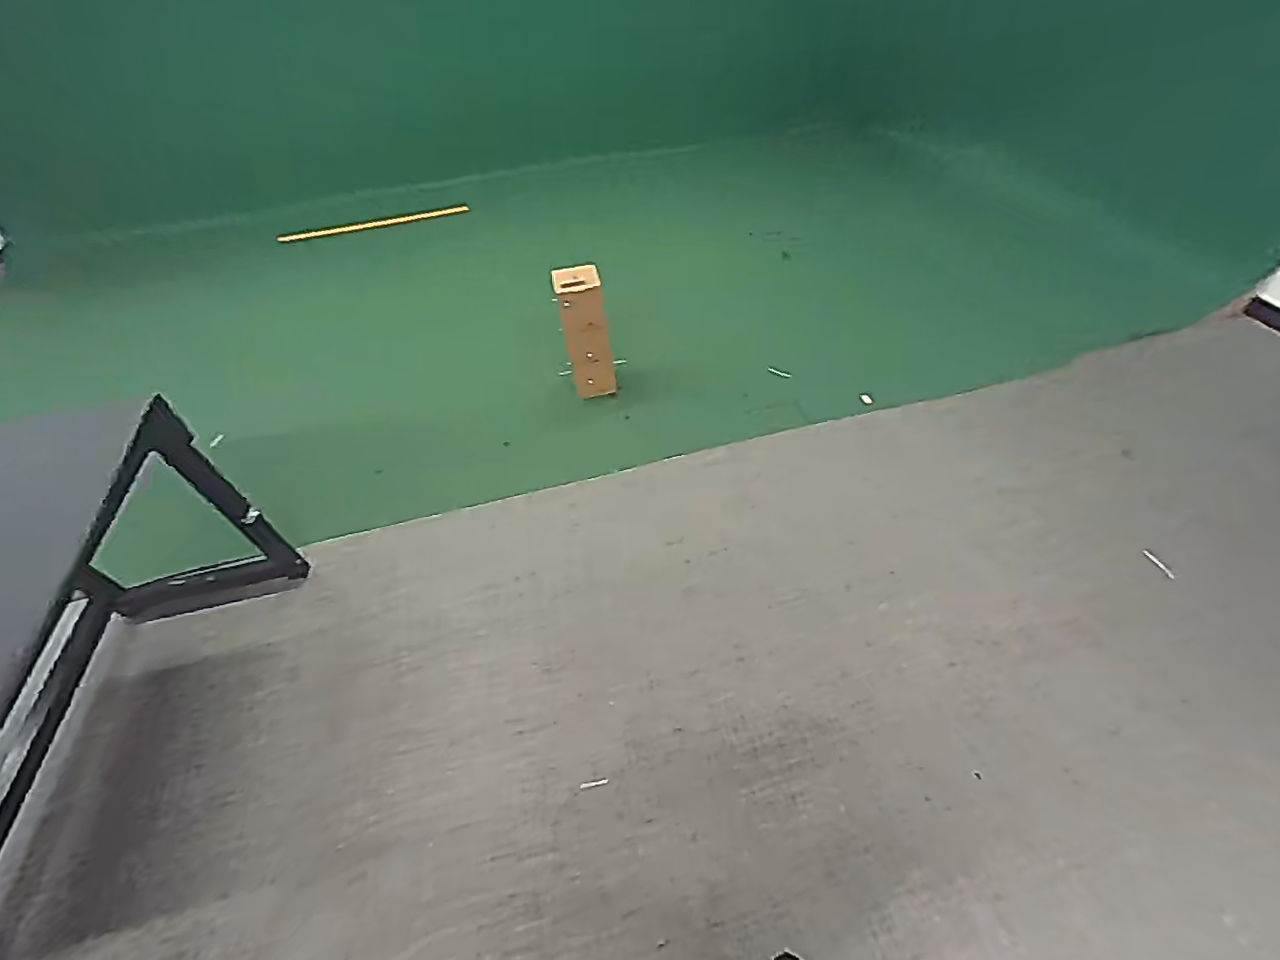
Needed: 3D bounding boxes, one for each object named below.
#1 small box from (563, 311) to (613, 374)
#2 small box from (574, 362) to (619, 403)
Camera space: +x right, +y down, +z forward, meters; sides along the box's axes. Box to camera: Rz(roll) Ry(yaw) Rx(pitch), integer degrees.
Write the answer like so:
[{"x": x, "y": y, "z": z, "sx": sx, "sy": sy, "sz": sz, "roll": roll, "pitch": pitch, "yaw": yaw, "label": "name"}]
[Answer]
[{"x": -0.211, "y": -0.558, "z": 2.190, "sx": 0.168, "sy": 0.176, "sz": 0.179, "roll": -12, "pitch": 48, "yaw": -4, "label": "small box"}, {"x": -0.194, "y": -0.448, "z": 2.313, "sx": 0.168, "sy": 0.176, "sz": 0.179, "roll": -14, "pitch": 48, "yaw": -5, "label": "small box"}]
